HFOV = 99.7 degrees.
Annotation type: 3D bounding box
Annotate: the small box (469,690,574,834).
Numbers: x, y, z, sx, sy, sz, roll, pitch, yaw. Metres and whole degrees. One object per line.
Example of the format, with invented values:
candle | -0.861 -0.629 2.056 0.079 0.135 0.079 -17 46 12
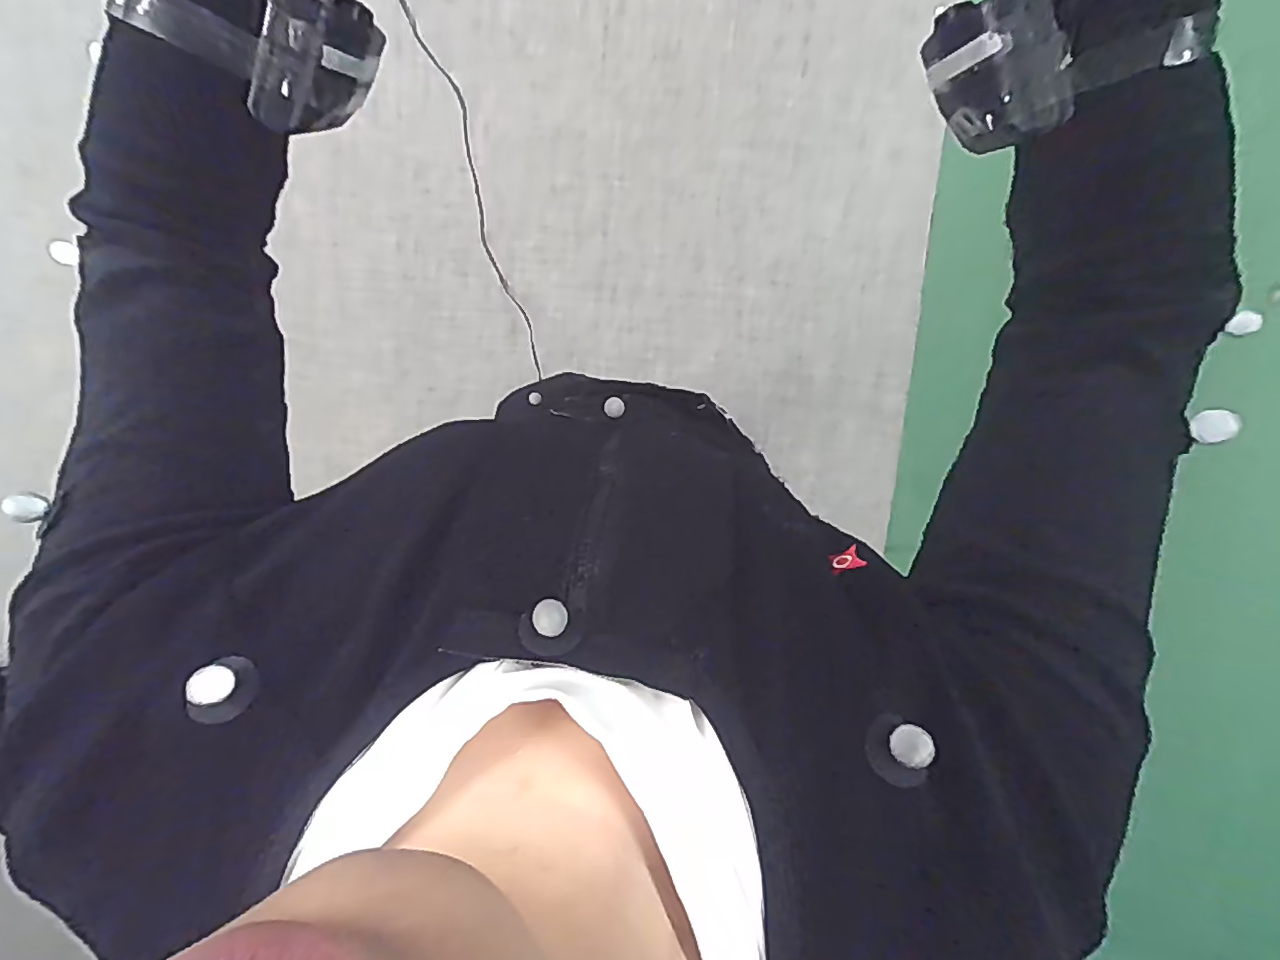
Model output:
small box | -0.234 0.546 1.067 0.168 0.176 0.179 10 102 4
